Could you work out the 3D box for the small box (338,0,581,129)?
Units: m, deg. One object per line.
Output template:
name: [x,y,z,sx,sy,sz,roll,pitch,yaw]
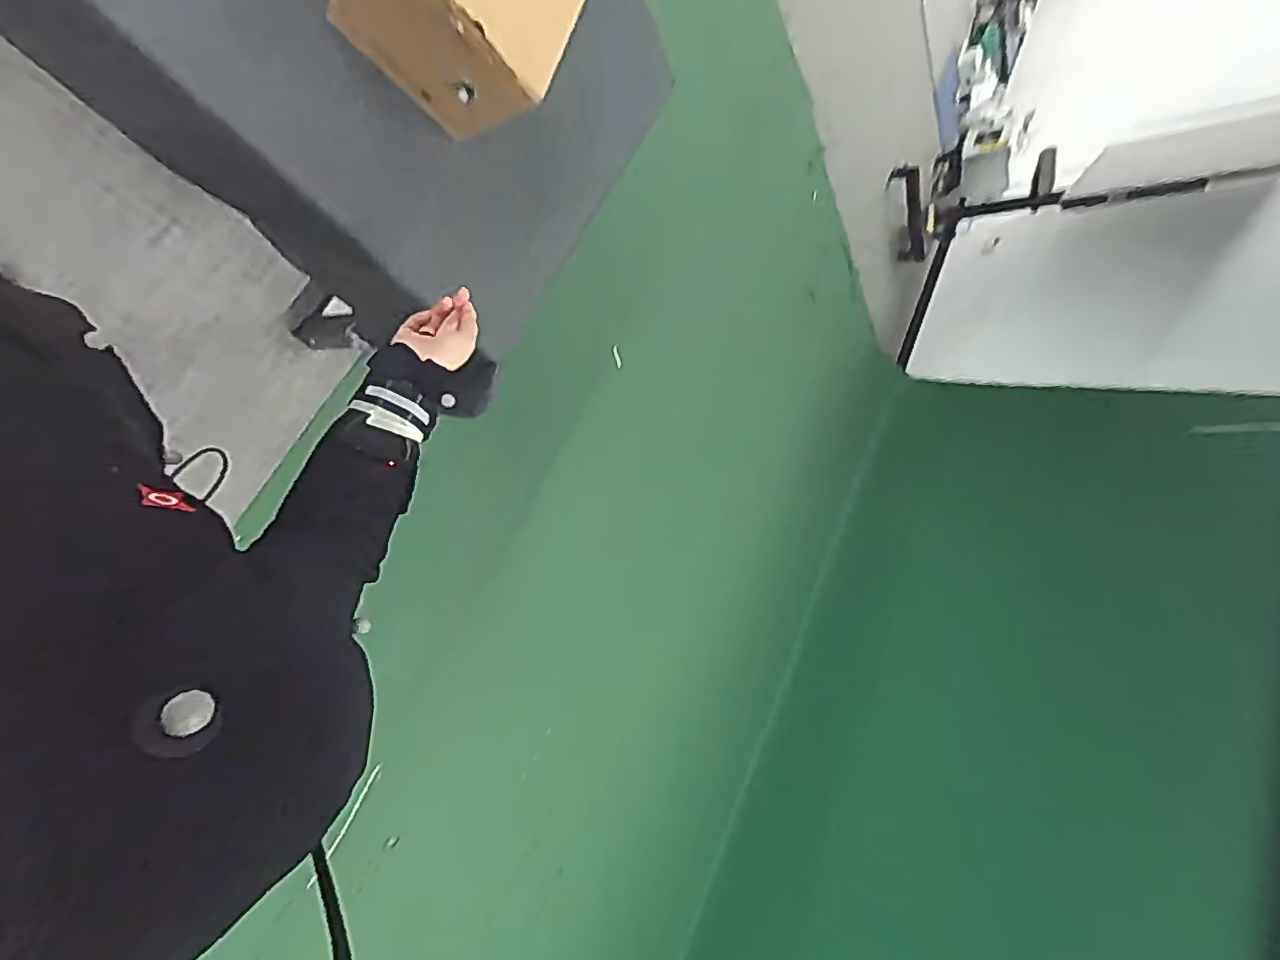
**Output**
small box: [-0.184,-0.511,0.561,0.168,0.176,0.179,28,77,-50]
